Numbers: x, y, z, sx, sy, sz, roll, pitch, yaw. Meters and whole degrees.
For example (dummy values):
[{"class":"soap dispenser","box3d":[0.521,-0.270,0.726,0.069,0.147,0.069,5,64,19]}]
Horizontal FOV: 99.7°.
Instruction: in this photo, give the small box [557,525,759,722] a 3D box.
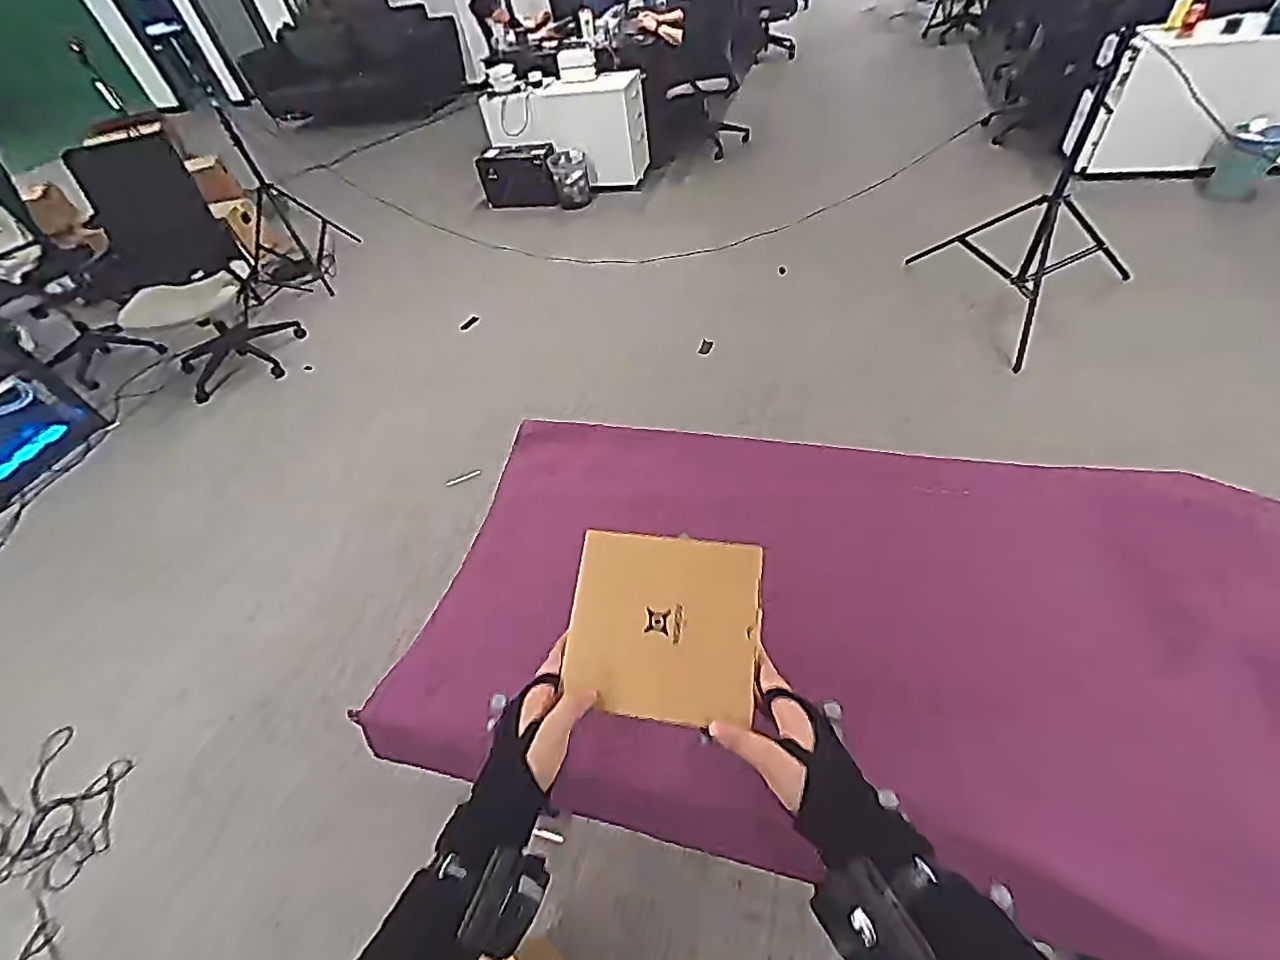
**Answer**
[{"class":"small box","box3d":[0.029,0.158,0.577,0.179,0.176,0.168,4,65,9]}]

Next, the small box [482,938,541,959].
[{"class":"small box","box3d":[-0.224,0.907,0.891,0.168,0.176,0.179,32,62,31]}]
